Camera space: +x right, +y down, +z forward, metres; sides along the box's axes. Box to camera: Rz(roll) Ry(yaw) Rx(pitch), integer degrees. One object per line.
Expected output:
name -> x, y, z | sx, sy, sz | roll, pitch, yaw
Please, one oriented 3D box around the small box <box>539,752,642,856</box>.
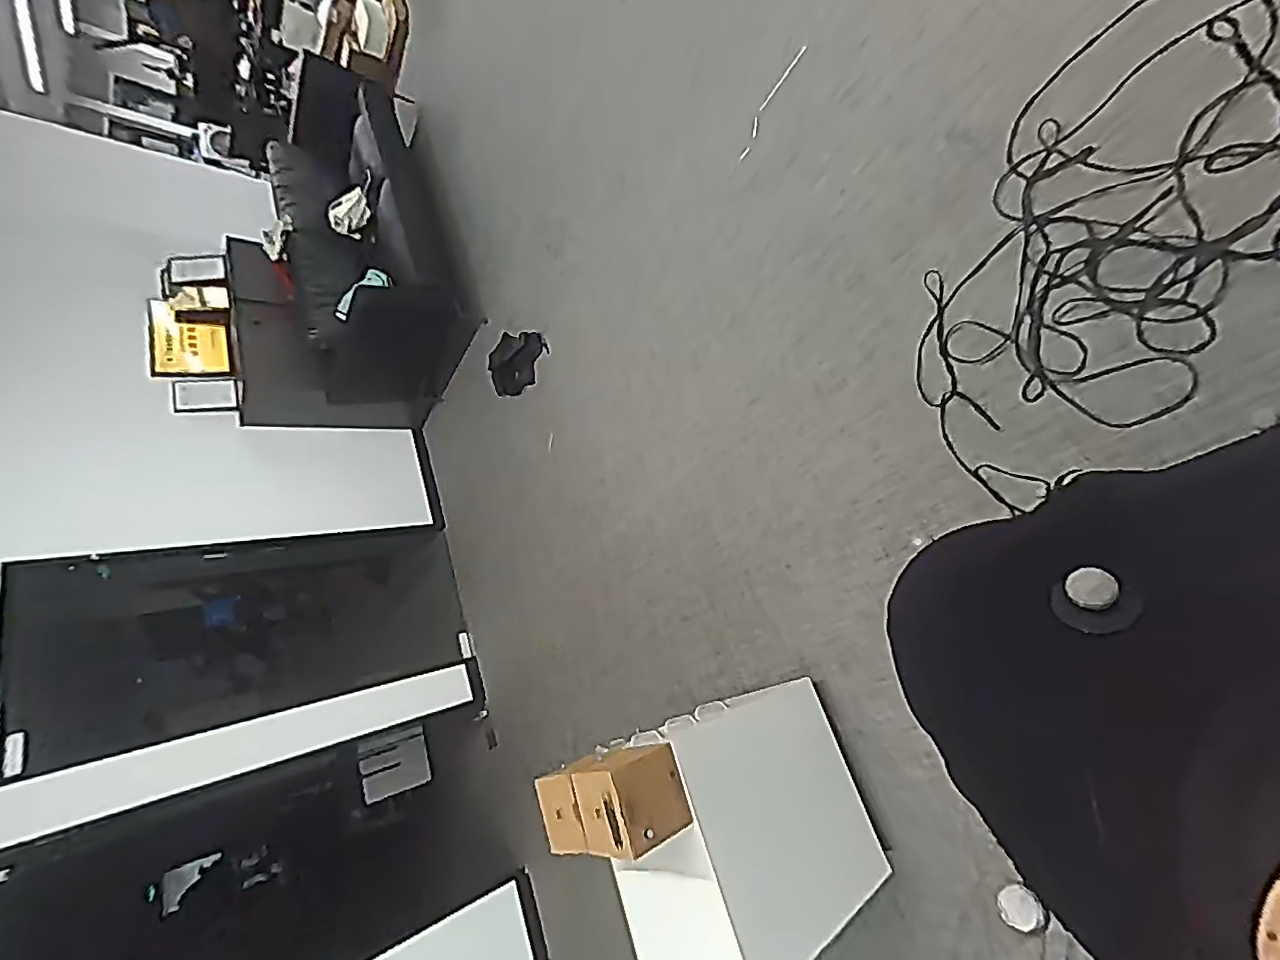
small box -> -0.114, 0.777, 1.305 | 0.179, 0.176, 0.168 | -41, 61, 43
